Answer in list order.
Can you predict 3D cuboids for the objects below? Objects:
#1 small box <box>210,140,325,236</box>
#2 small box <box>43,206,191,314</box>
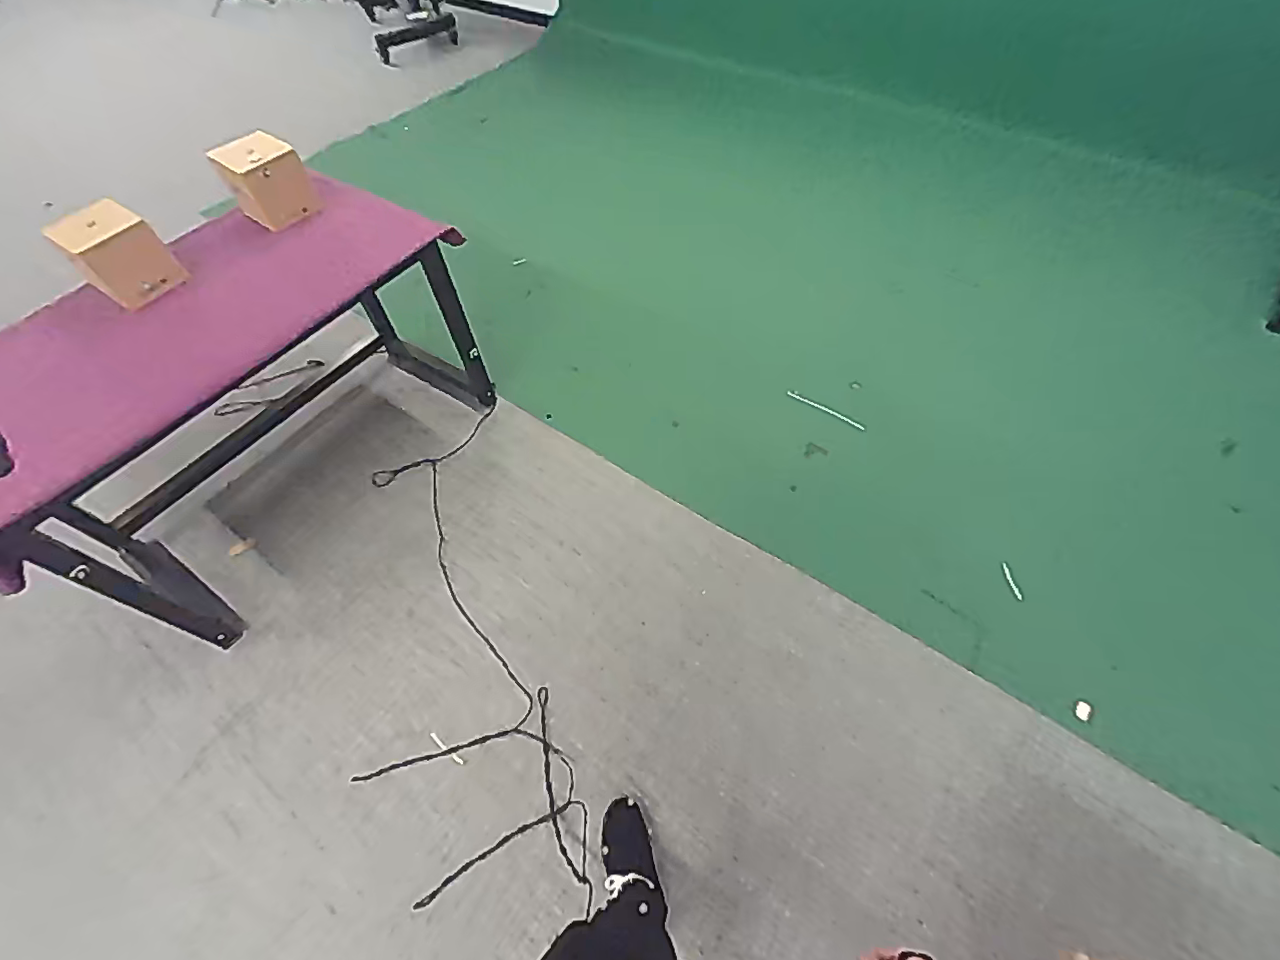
[{"bbox_3d":[-1.044,-0.820,1.526,0.179,0.176,0.168,32,64,22],"label":"small box"},{"bbox_3d":[-1.296,-0.546,1.352,0.179,0.176,0.168,29,62,19],"label":"small box"}]
